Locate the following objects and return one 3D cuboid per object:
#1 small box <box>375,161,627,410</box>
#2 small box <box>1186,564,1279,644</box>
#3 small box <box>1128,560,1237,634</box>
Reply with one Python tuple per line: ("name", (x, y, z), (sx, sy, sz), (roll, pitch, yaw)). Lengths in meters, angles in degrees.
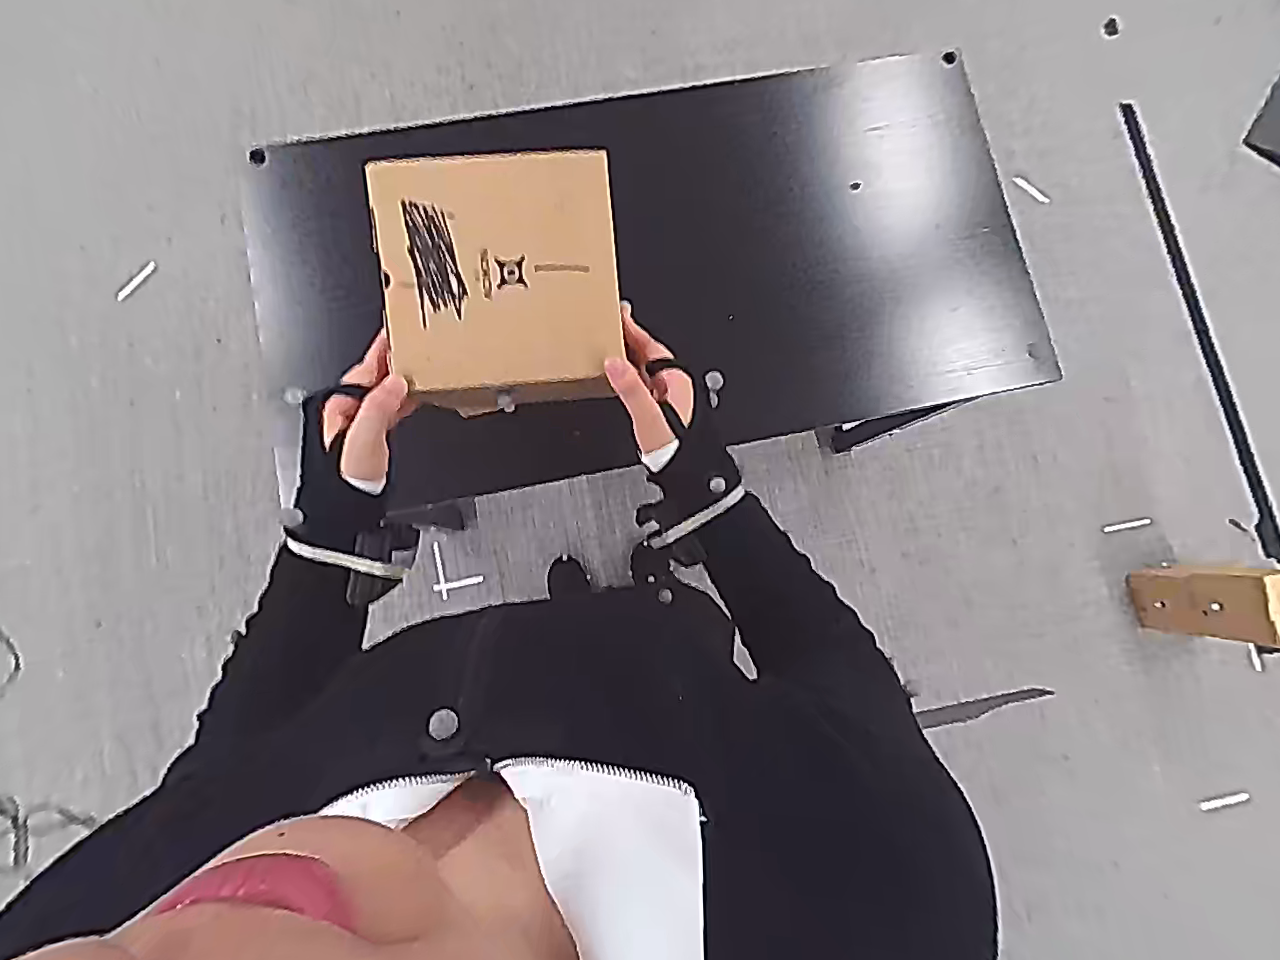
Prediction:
("small box", (-0.107, -0.154, 0.481), (0.179, 0.176, 0.168), (-5, 94, -5))
("small box", (1.539, 0.302, 1.348), (0.179, 0.176, 0.168), (-6, 83, -4))
("small box", (1.526, 0.322, 1.512), (0.179, 0.176, 0.168), (-12, 83, -4))
